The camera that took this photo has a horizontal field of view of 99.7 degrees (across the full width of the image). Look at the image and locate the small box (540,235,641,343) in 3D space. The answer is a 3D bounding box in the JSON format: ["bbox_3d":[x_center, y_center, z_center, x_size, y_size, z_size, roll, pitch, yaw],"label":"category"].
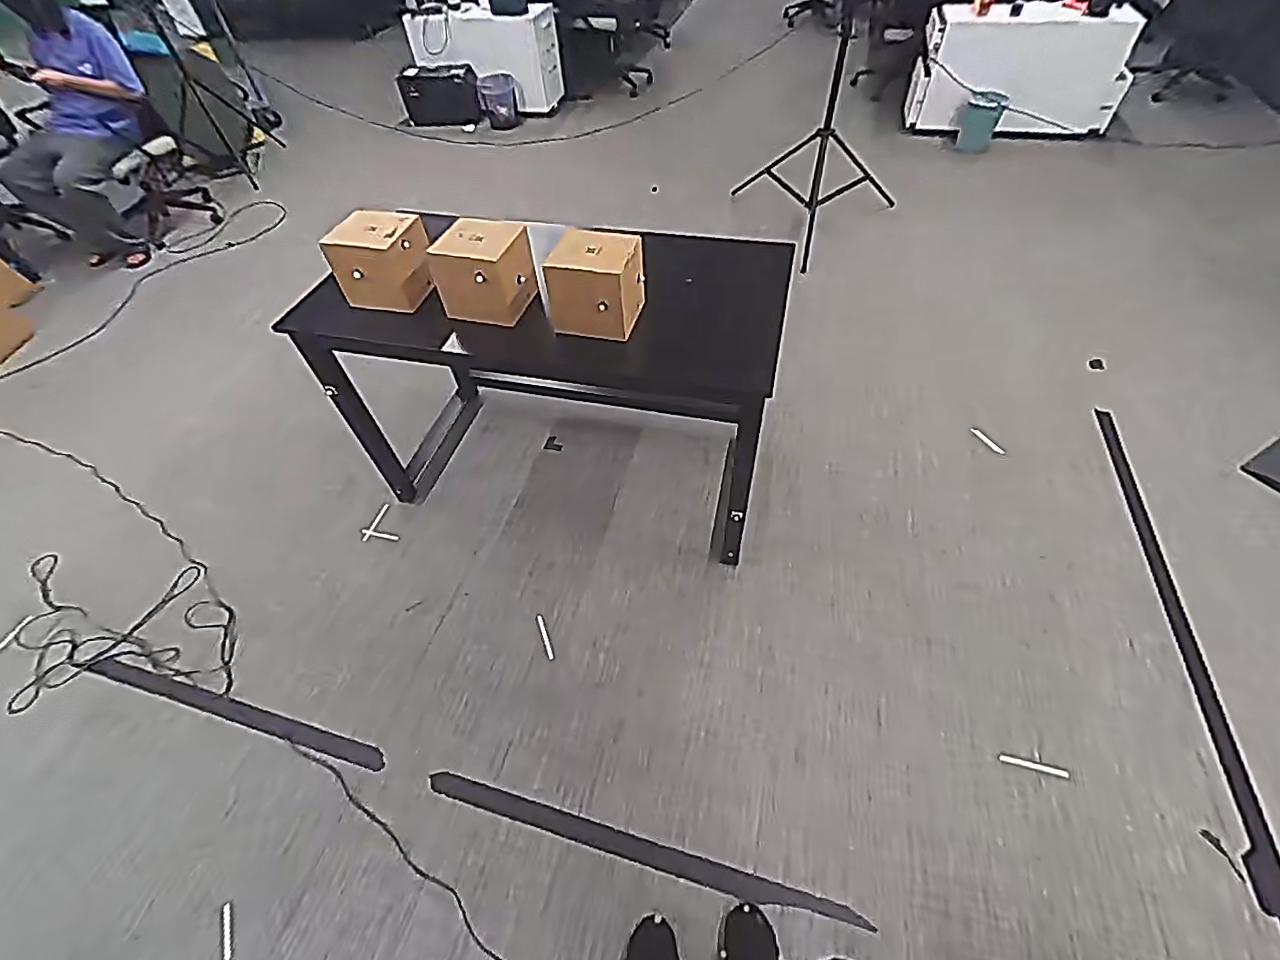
[{"bbox_3d":[-0.101,-0.429,1.223,0.179,0.176,0.168,9,51,12],"label":"small box"}]

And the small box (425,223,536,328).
[{"bbox_3d":[-0.365,-0.479,1.277,0.179,0.176,0.168,11,52,12],"label":"small box"}]

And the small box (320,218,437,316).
[{"bbox_3d":[-0.629,-0.523,1.331,0.179,0.176,0.168,8,52,10],"label":"small box"}]
